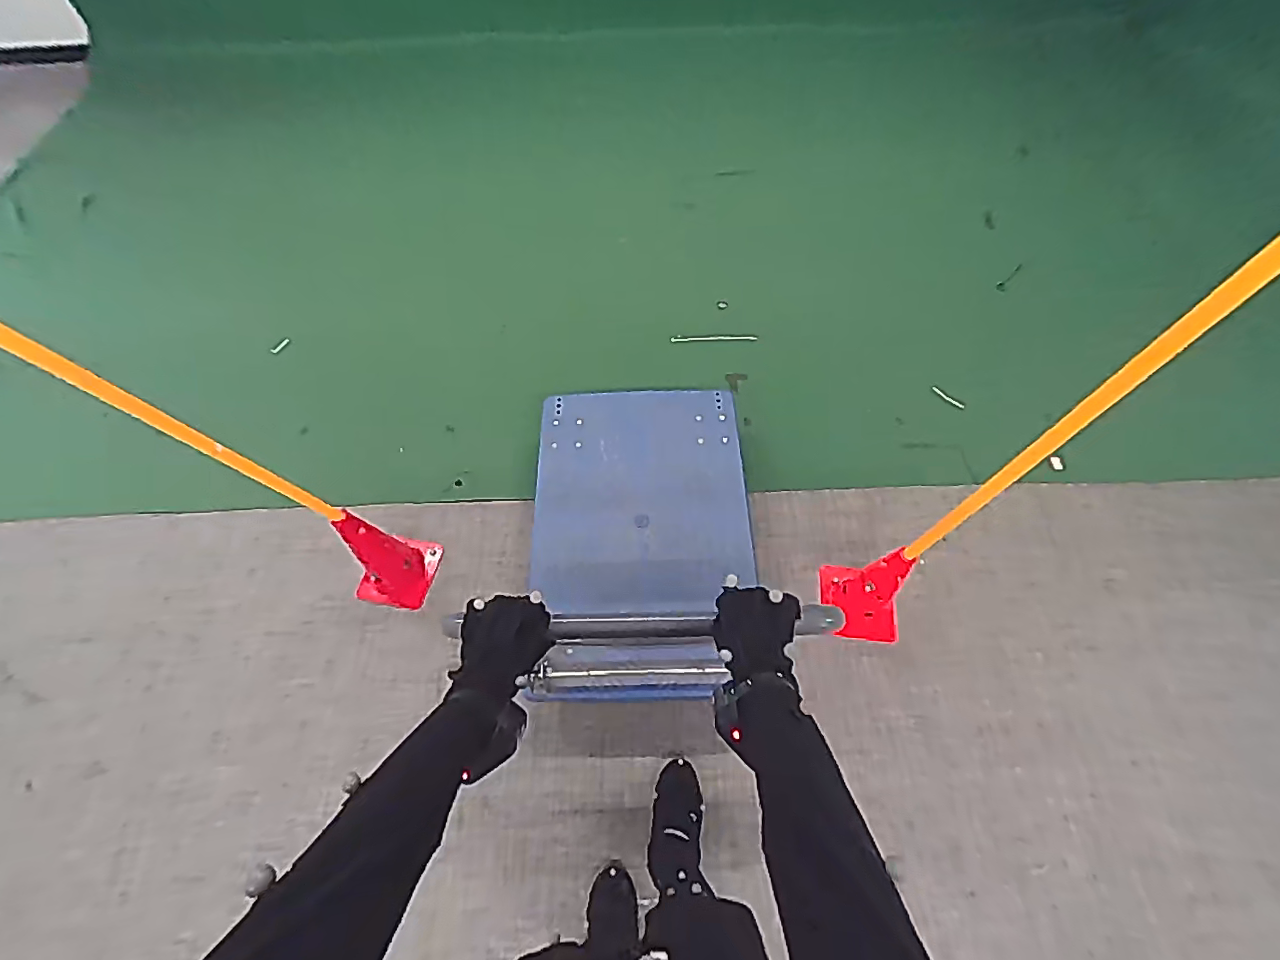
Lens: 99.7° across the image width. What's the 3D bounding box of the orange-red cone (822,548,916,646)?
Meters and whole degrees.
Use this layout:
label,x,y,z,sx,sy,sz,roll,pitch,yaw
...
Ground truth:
label,x,y,z,sx,sy,sz,roll,pitch,yaw
orange-red cone,0.592,0.257,1.331,0.198,0.360,0.199,7,60,6
